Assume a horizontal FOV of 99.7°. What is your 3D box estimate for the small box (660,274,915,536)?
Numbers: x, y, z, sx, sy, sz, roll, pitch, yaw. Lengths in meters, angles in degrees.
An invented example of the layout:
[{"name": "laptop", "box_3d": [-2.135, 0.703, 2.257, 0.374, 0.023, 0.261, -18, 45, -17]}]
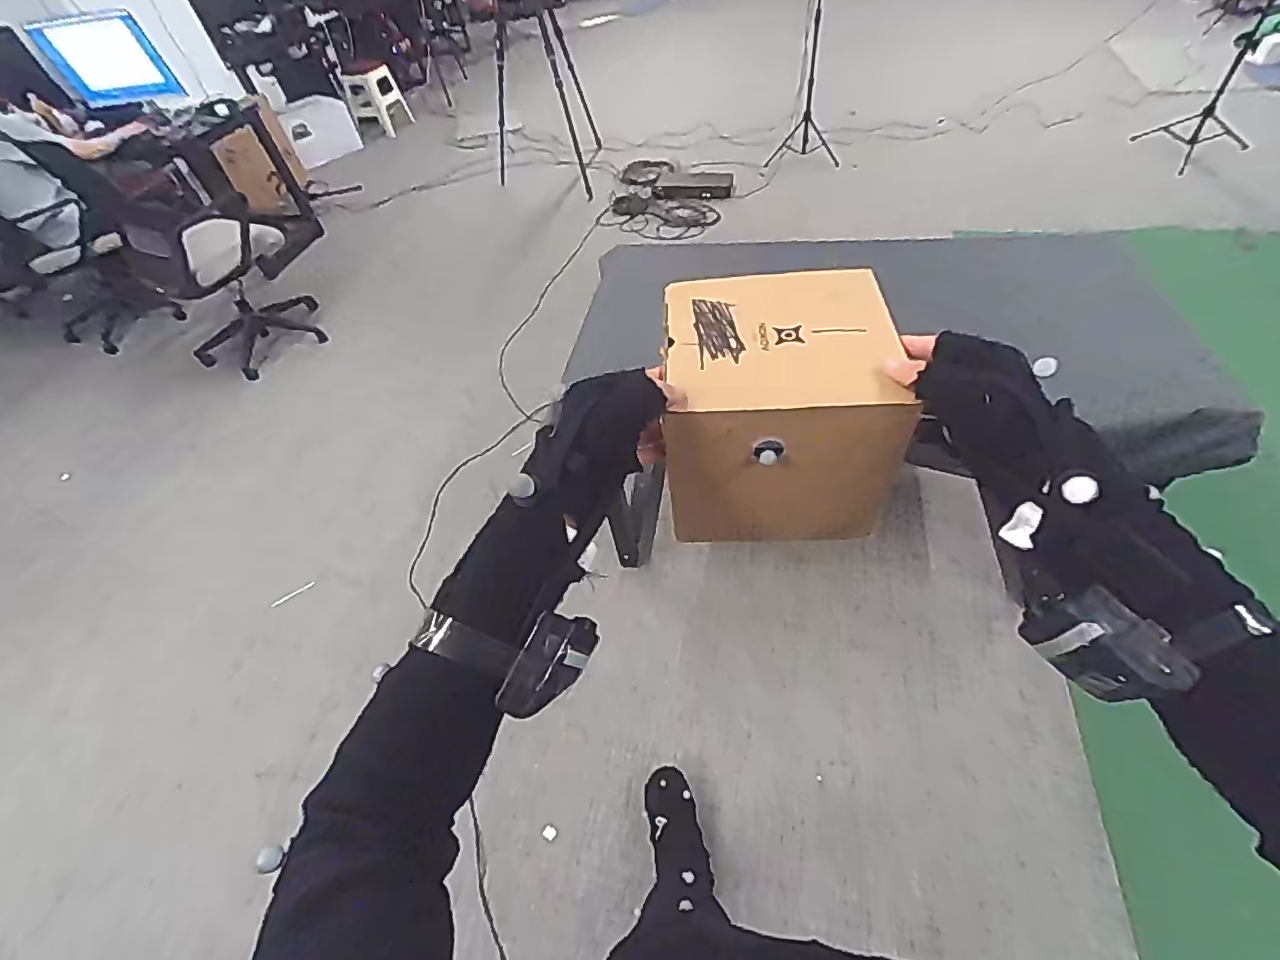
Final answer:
[{"name": "small box", "box_3d": [0.114, -0.060, 0.485, 0.179, 0.176, 0.168, -1, 51, 6]}]
